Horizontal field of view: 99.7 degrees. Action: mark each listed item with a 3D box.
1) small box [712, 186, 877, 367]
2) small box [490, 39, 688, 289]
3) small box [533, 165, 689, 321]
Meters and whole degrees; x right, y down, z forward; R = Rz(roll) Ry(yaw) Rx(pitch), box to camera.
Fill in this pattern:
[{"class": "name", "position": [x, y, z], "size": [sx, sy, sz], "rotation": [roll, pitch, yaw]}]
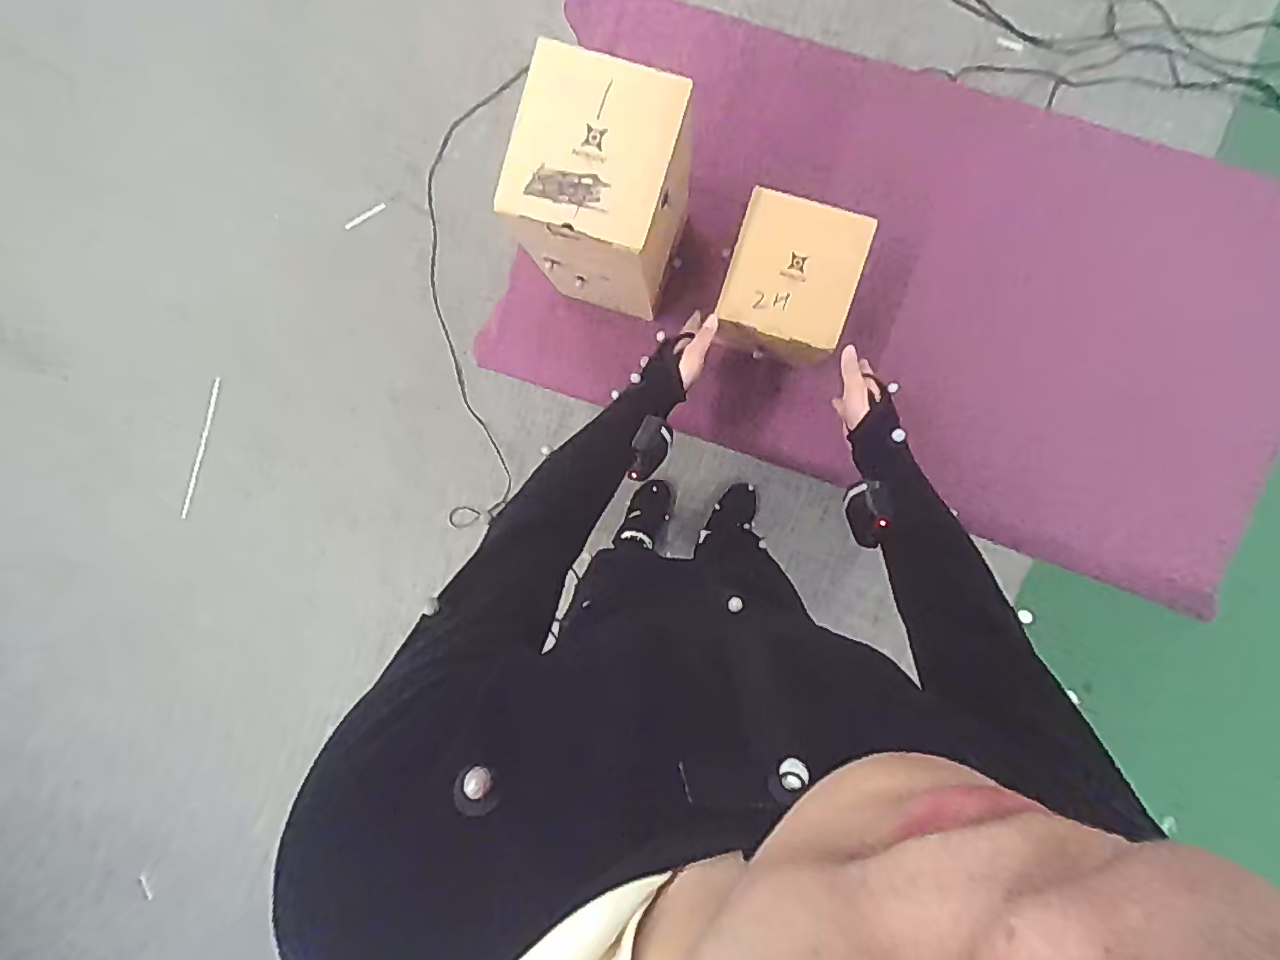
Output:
[{"class": "small box", "position": [0.205, -0.277, 0.774], "size": [0.168, 0.176, 0.179], "rotation": [18, 96, 4]}, {"class": "small box", "position": [-0.047, -0.343, 0.625], "size": [0.168, 0.176, 0.179], "rotation": [18, 95, 3]}, {"class": "small box", "position": [-0.034, -0.356, 0.789], "size": [0.168, 0.176, 0.179], "rotation": [18, 95, 4]}]
